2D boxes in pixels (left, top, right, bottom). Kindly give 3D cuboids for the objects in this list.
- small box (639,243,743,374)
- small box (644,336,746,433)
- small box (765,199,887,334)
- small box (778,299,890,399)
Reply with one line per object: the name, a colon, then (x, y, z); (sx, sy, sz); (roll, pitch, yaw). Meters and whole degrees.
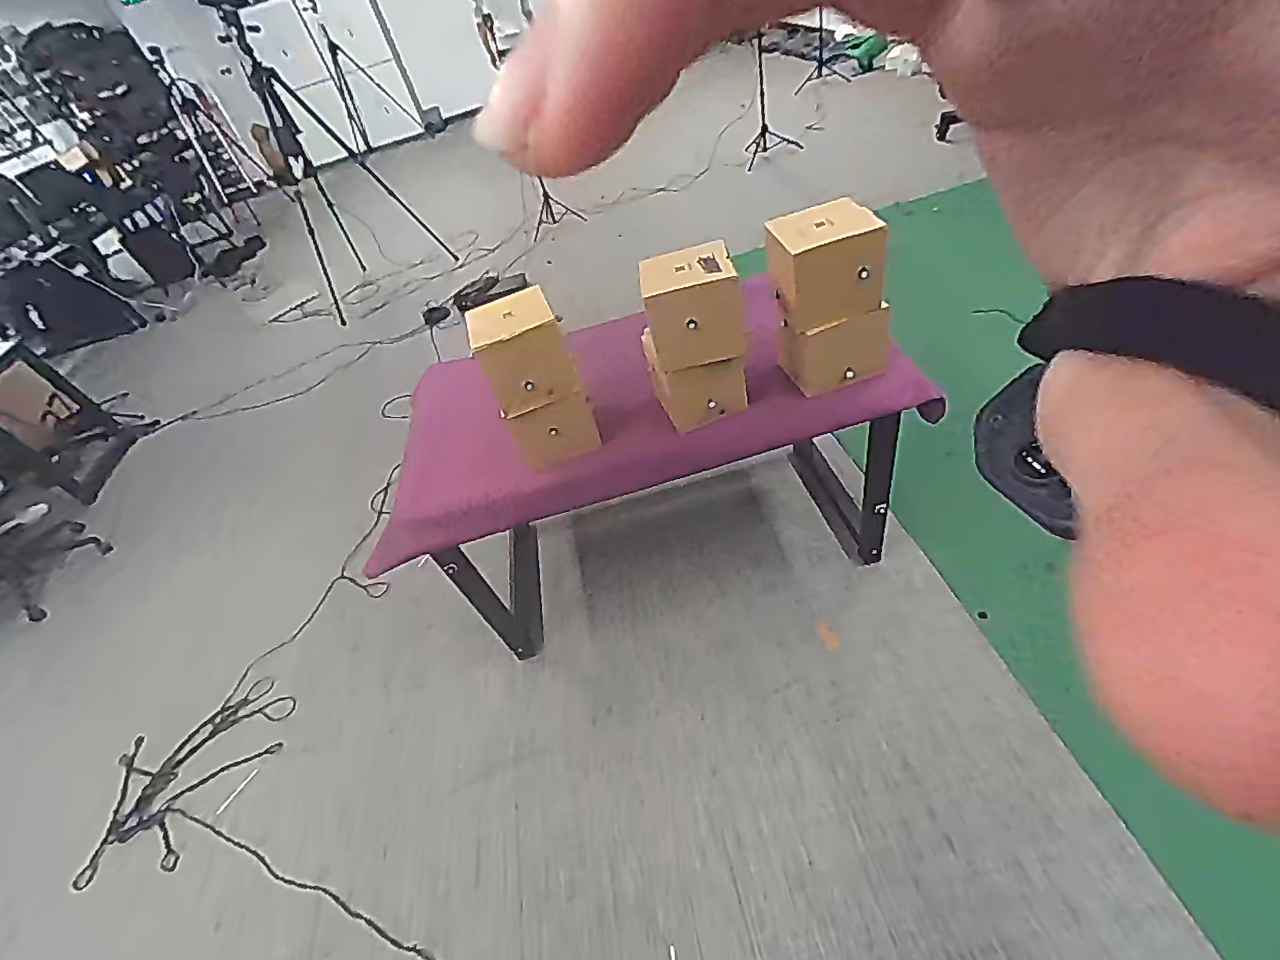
small box: (0.103, -0.336, 1.071); (0.179, 0.176, 0.168); (-12, 44, 9)
small box: (0.123, -0.234, 1.201); (0.168, 0.176, 0.179); (-22, 43, -2)
small box: (0.359, -0.418, 1.066); (0.179, 0.176, 0.168); (-16, 44, 4)
small box: (0.410, -0.306, 1.174); (0.179, 0.176, 0.168); (-20, 44, 0)
